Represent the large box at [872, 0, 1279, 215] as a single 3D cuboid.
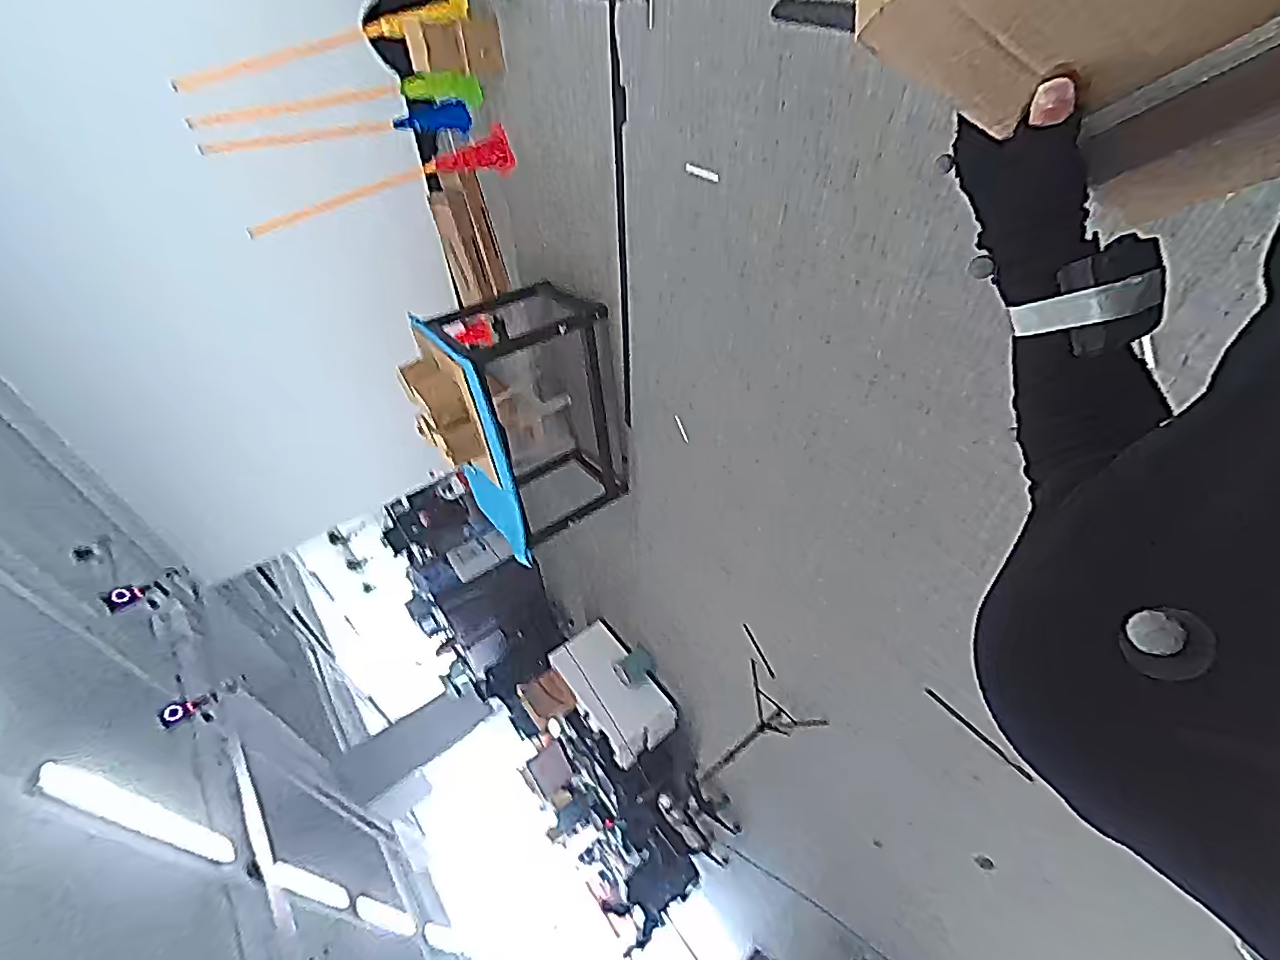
[{"bbox_3d":[0.345,-0.366,0.174,0.408,0.320,0.320,-3,84,60],"label":"large box"}]
